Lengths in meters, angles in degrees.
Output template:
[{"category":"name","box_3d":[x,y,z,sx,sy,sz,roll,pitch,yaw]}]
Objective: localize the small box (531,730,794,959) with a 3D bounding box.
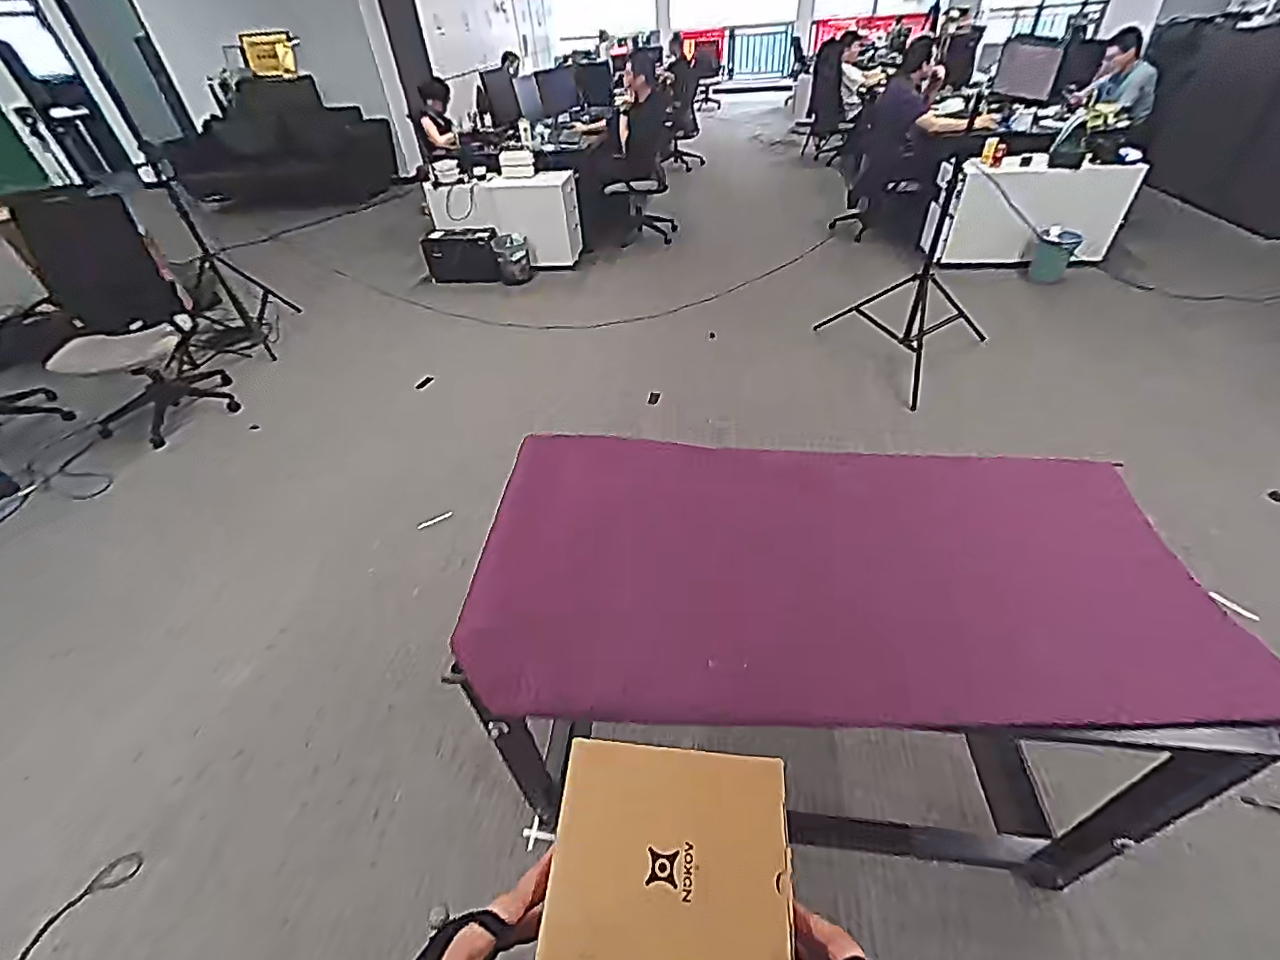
[{"category":"small box","box_3d":[0.024,0.329,0.454,0.179,0.176,0.168,3,50,5]}]
